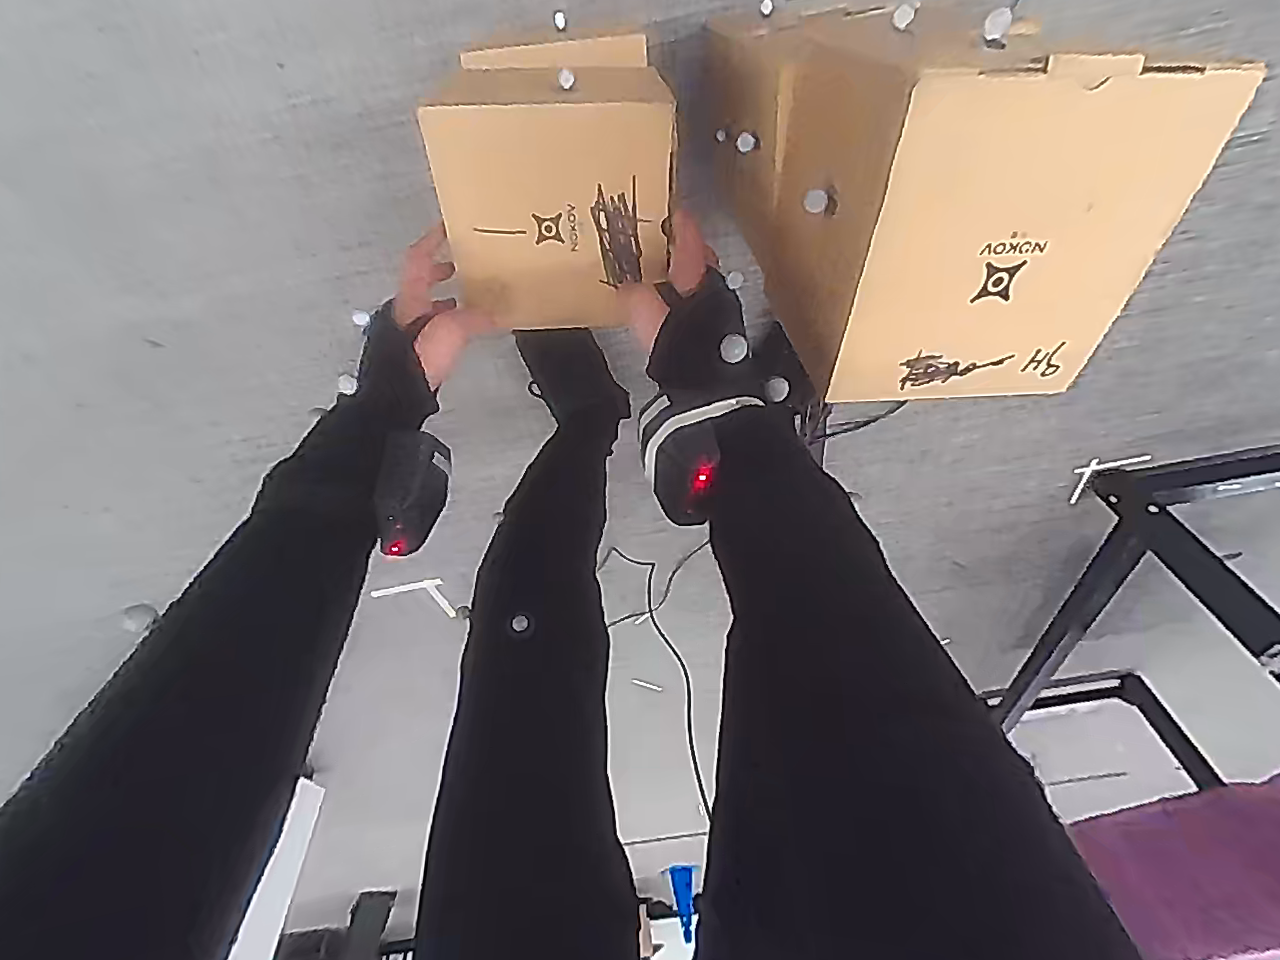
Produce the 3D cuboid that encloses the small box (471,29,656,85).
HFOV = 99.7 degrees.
[{"bbox_3d":[-0.069,-0.370,0.585,0.168,0.176,0.179,-5,134,0],"label":"small box"}]

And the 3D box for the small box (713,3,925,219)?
[{"bbox_3d":[0.176,-0.393,0.590,0.168,0.176,0.179,-9,134,3],"label":"small box"}]

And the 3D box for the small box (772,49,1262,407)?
[{"bbox_3d":[0.196,-0.168,0.355,0.168,0.176,0.179,-2,132,-3],"label":"small box"}]

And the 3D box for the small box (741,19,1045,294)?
[{"bbox_3d":[0.187,-0.282,0.472,0.179,0.176,0.168,-8,133,2],"label":"small box"}]

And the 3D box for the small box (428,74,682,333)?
[{"bbox_3d":[-0.063,-0.246,0.477,0.179,0.176,0.168,-2,133,-2],"label":"small box"}]
